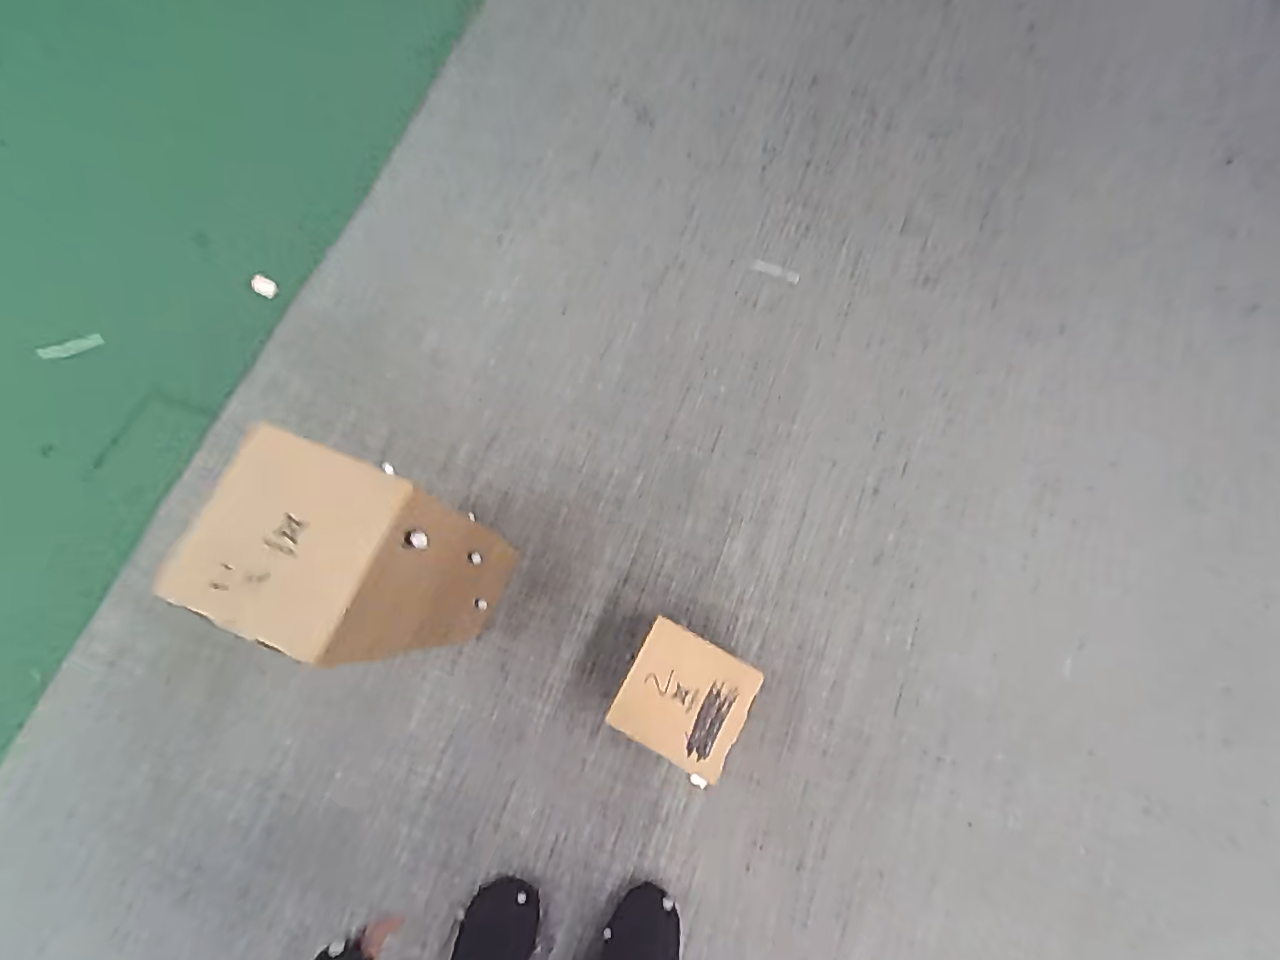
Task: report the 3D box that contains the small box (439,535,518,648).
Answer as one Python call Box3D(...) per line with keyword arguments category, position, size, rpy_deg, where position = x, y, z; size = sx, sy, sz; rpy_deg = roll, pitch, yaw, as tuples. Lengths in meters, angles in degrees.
Box3D(category="small box", position=(-0.317, 0.152, 0.876), size=(0.168, 0.176, 0.179), rpy_deg=(24, 77, 6))

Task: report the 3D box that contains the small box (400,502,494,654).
Box3D(category="small box", position=(-0.313, 0.112, 0.719), size=(0.168, 0.176, 0.179), rpy_deg=(21, 77, 6))

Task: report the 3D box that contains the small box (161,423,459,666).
Box3D(category="small box", position=(-0.311, 0.072, 0.559), size=(0.168, 0.176, 0.179), rpy_deg=(21, 75, 6))
